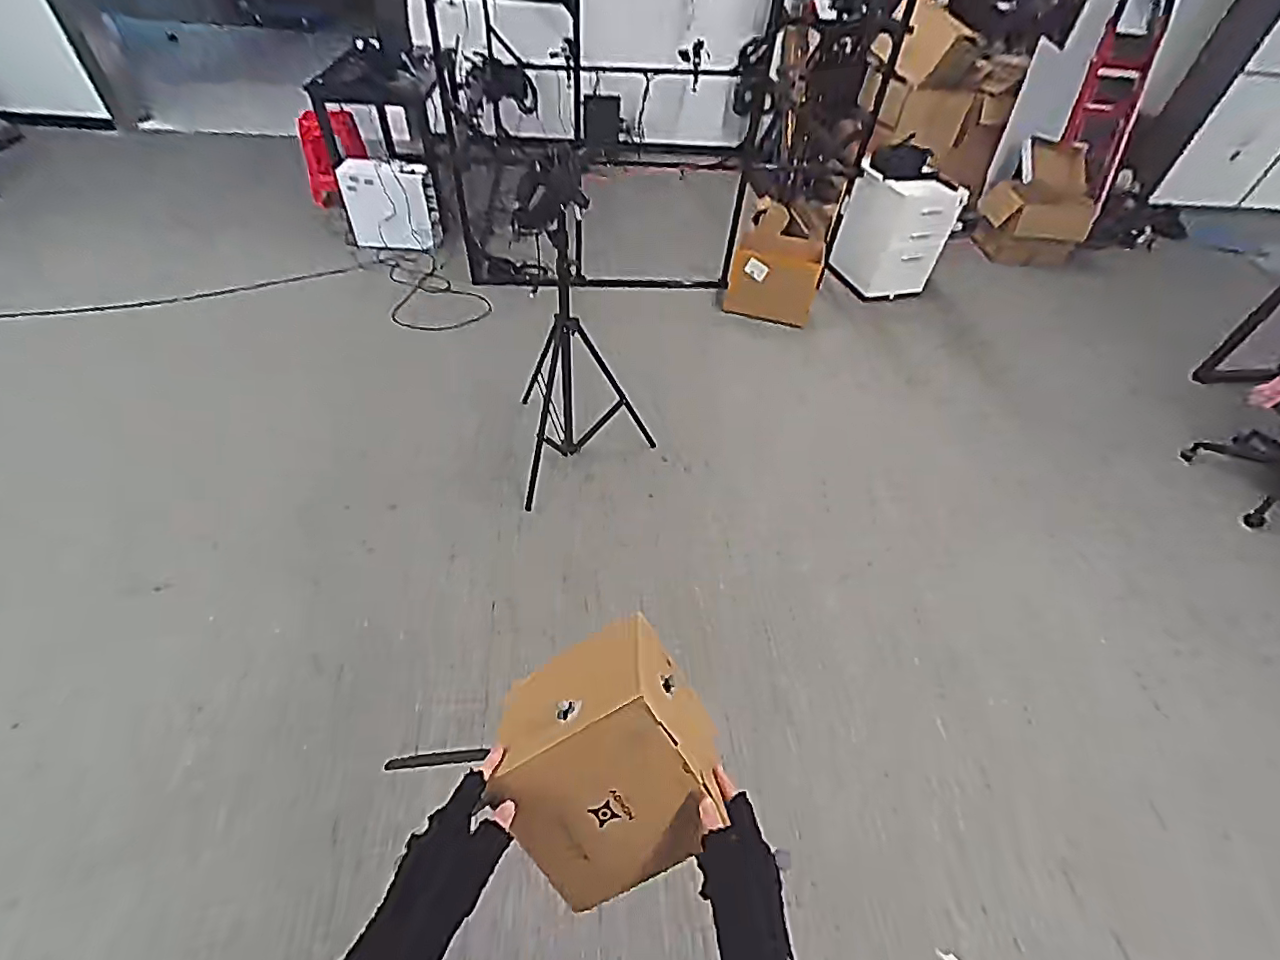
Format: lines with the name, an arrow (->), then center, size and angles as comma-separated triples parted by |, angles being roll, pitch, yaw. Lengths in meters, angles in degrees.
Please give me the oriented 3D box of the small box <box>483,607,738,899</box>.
small box -> -0.027, 0.262, 0.558 | 0.179, 0.168, 0.176 | -32, 10, 6
